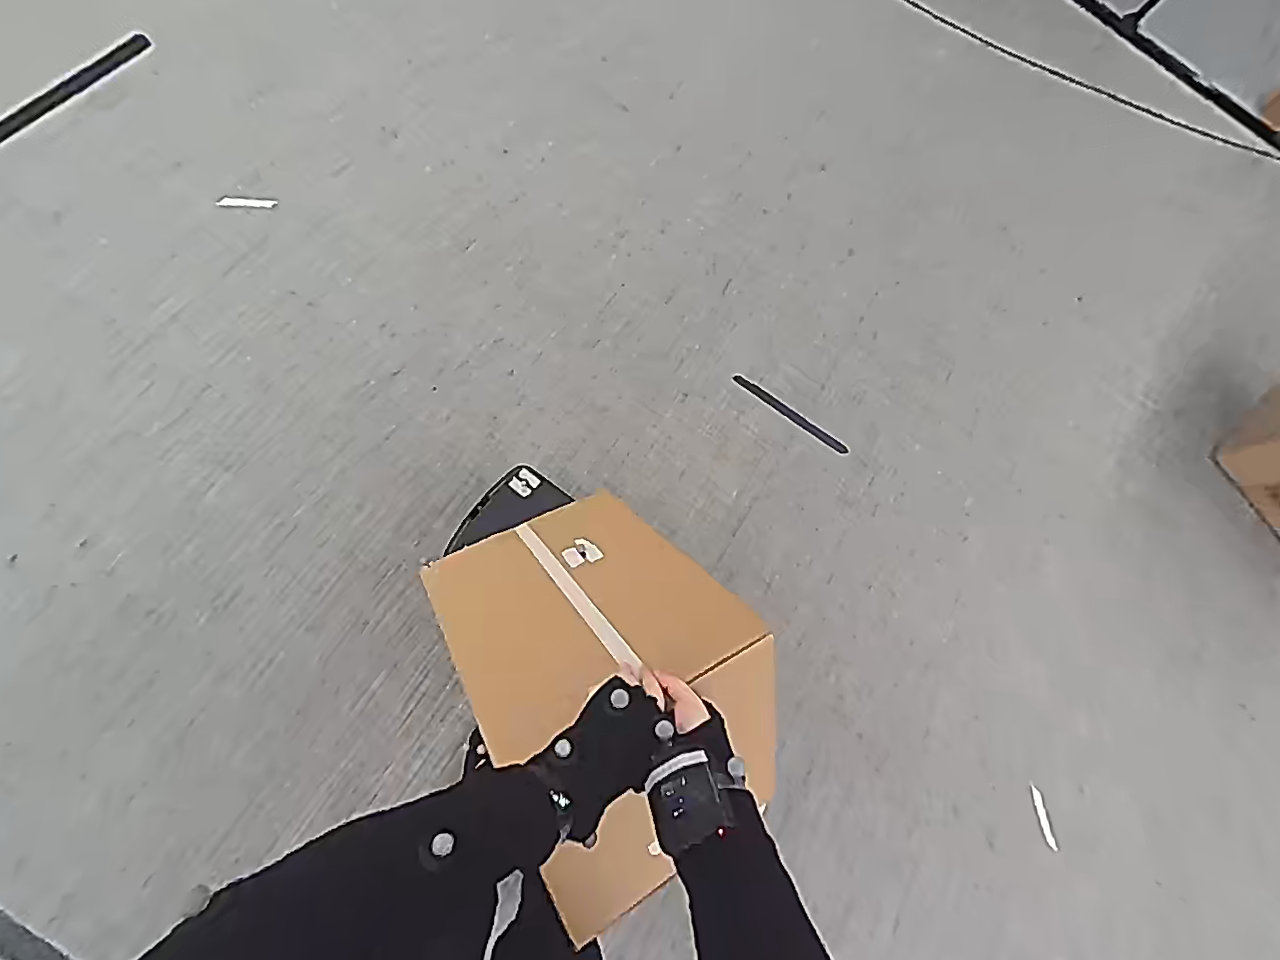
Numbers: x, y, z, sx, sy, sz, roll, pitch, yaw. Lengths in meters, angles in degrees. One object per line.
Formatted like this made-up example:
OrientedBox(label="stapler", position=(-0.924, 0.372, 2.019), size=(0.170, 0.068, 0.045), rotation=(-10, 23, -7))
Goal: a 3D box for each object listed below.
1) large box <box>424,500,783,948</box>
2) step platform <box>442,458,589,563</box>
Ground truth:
OrientedBox(label="large box", position=(-0.056, 0.282, 0.748), size=(0.320, 0.408, 0.320), rotation=(-22, 121, -24))
OrientedBox(label="step platform", position=(-0.110, 0.264, 1.221), size=(0.684, 0.204, 0.286), rotation=(41, 72, 2))
